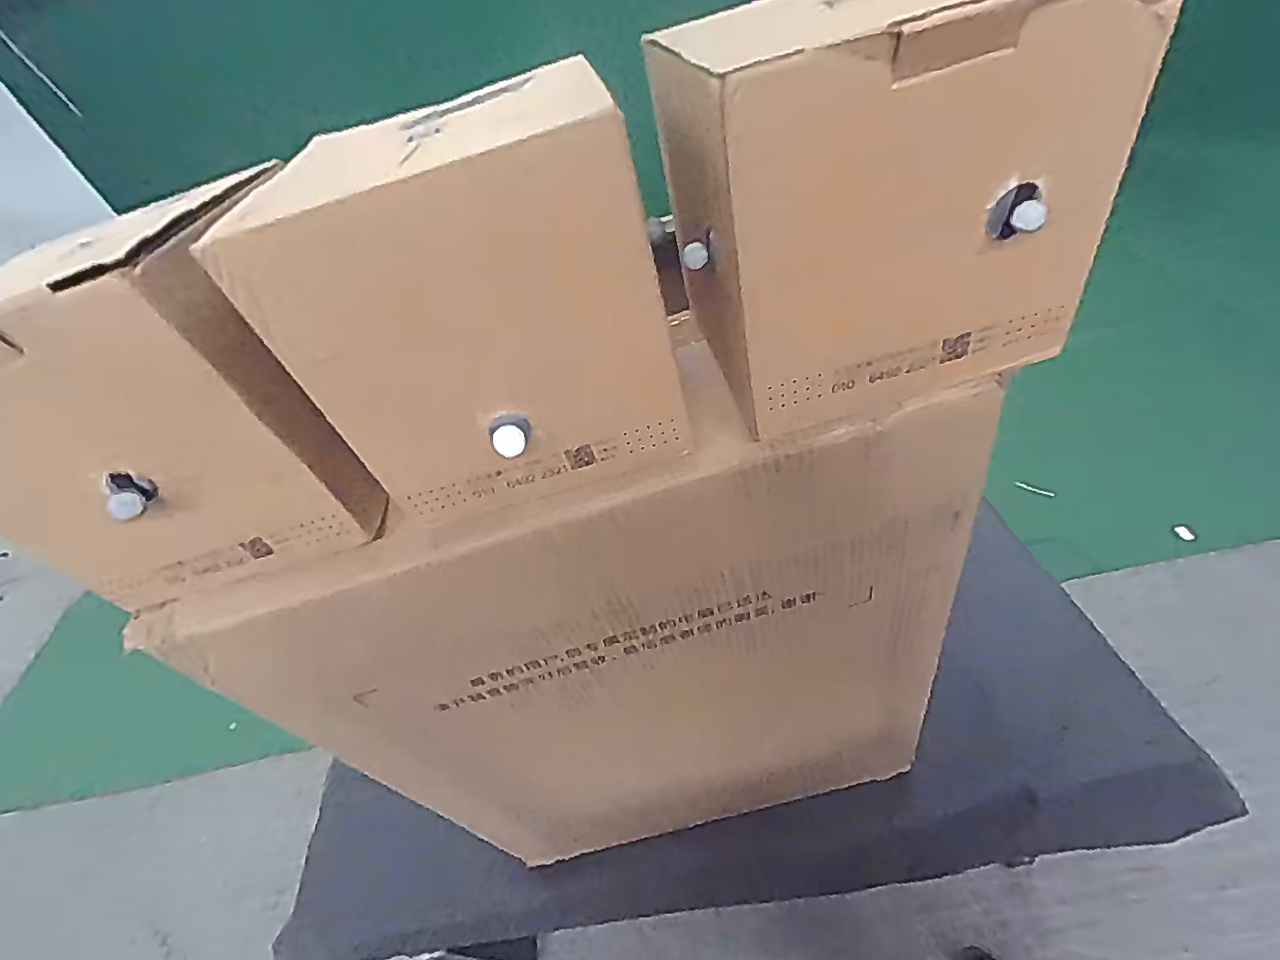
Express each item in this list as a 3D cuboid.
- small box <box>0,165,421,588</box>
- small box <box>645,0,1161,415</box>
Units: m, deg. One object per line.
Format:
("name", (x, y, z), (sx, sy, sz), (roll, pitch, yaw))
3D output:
("small box", (-0.258, -0.054, 0.329), (0.168, 0.176, 0.179), (-16, 44, 4))
("small box", (0.110, -0.153, 0.299), (0.168, 0.176, 0.179), (-15, 43, 1))
